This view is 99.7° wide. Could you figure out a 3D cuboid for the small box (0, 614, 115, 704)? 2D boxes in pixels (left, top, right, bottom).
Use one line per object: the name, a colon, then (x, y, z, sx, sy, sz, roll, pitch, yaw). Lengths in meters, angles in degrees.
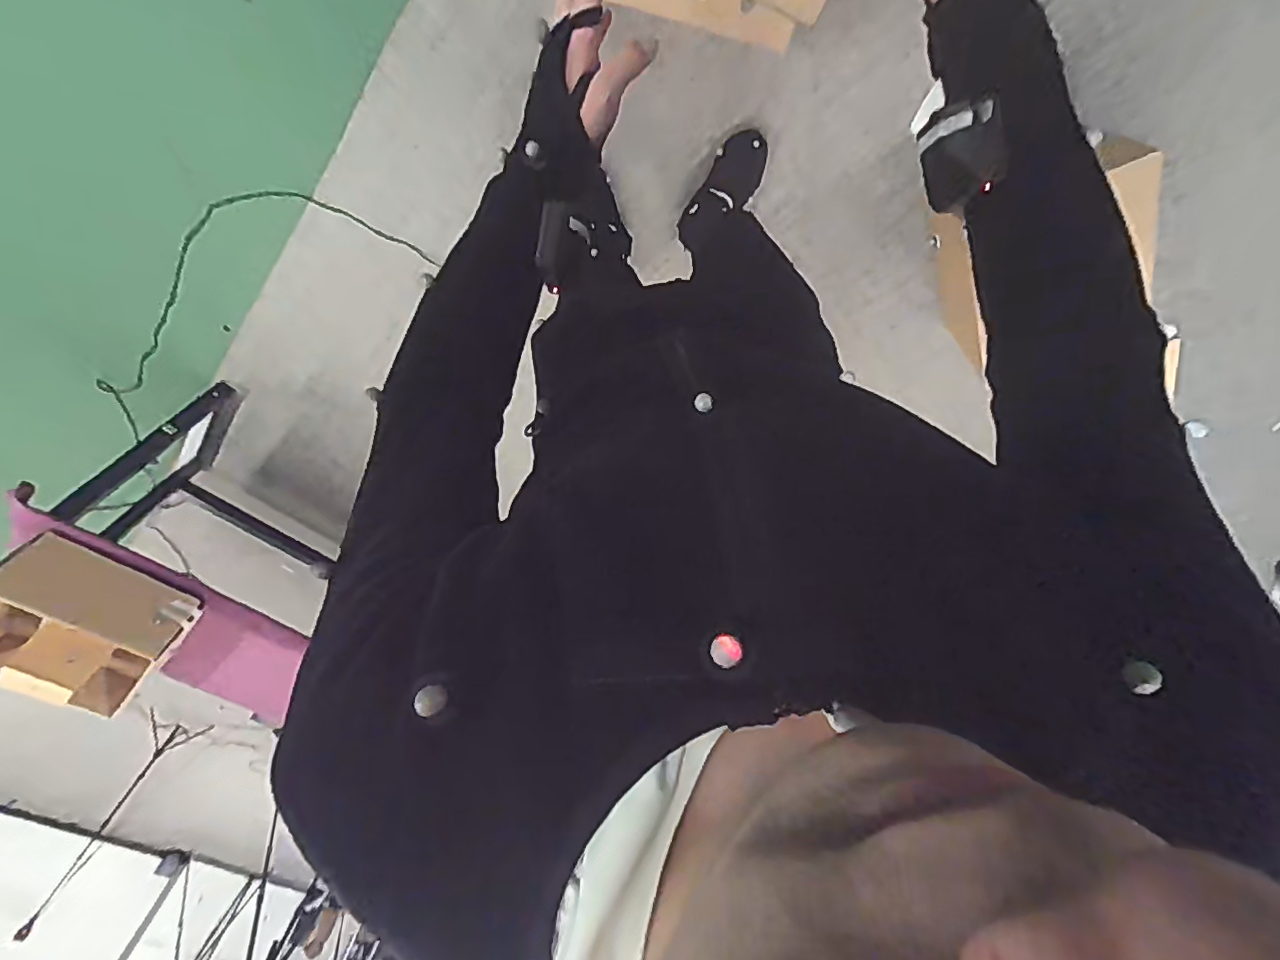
small box: (-1.664, 0.507, 1.542, 0.179, 0.176, 0.168, -32, 121, 30)
